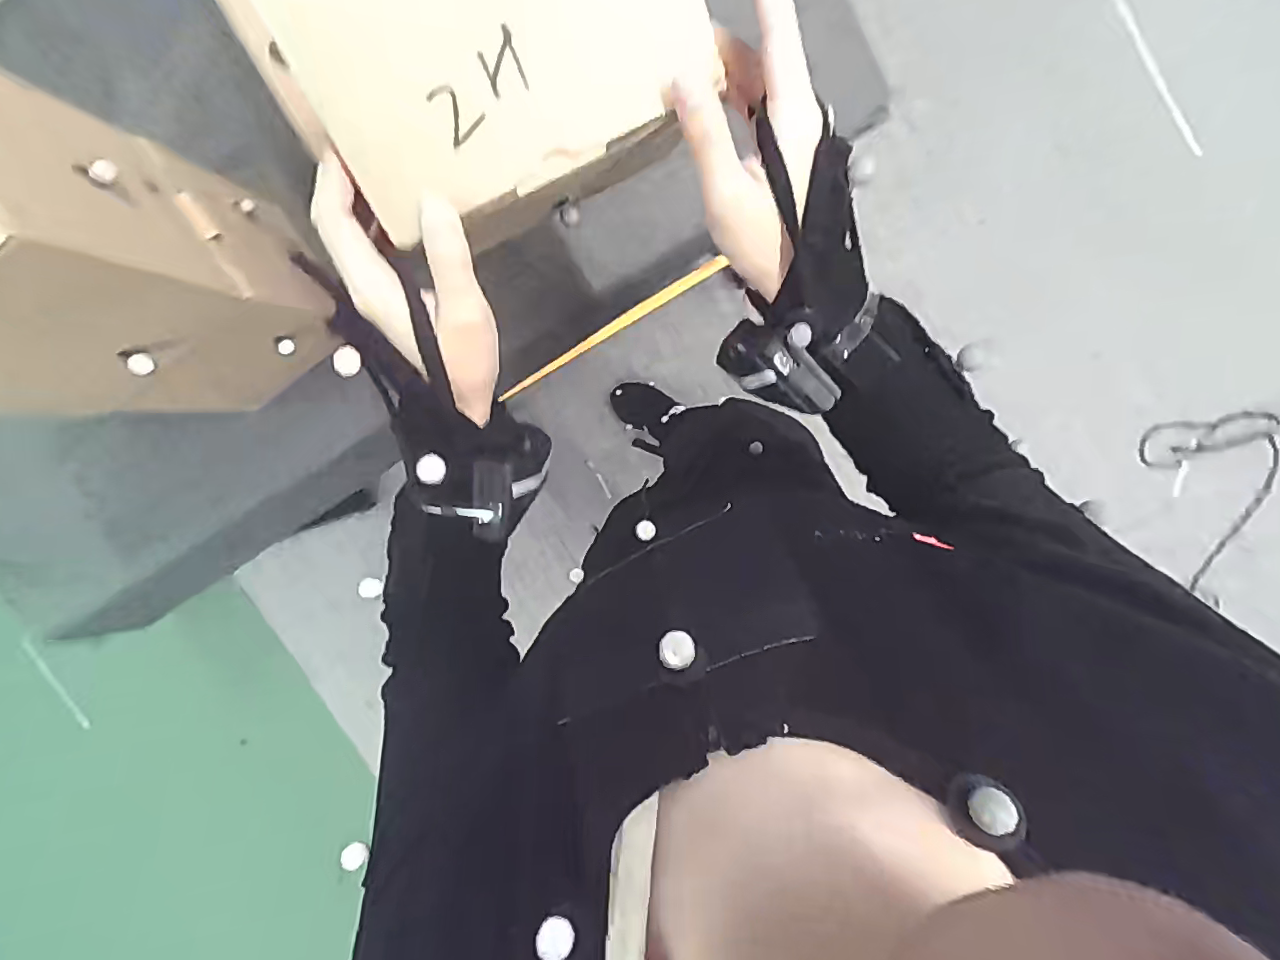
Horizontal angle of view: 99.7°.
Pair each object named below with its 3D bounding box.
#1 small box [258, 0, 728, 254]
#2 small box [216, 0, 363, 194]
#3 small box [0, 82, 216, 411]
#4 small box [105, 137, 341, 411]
[{"bbox_3d":[-0.076,-0.235,0.282,0.168,0.176,0.179,-24,112,4],"label":"small box"},{"bbox_3d":[-0.235,-0.383,0.507,0.168,0.176,0.179,-29,94,6],"label":"small box"},{"bbox_3d":[-0.457,-0.163,0.383,0.179,0.176,0.168,-34,93,7],"label":"small box"},{"bbox_3d":[-0.443,-0.185,0.545,0.179,0.176,0.168,-35,93,7],"label":"small box"}]
